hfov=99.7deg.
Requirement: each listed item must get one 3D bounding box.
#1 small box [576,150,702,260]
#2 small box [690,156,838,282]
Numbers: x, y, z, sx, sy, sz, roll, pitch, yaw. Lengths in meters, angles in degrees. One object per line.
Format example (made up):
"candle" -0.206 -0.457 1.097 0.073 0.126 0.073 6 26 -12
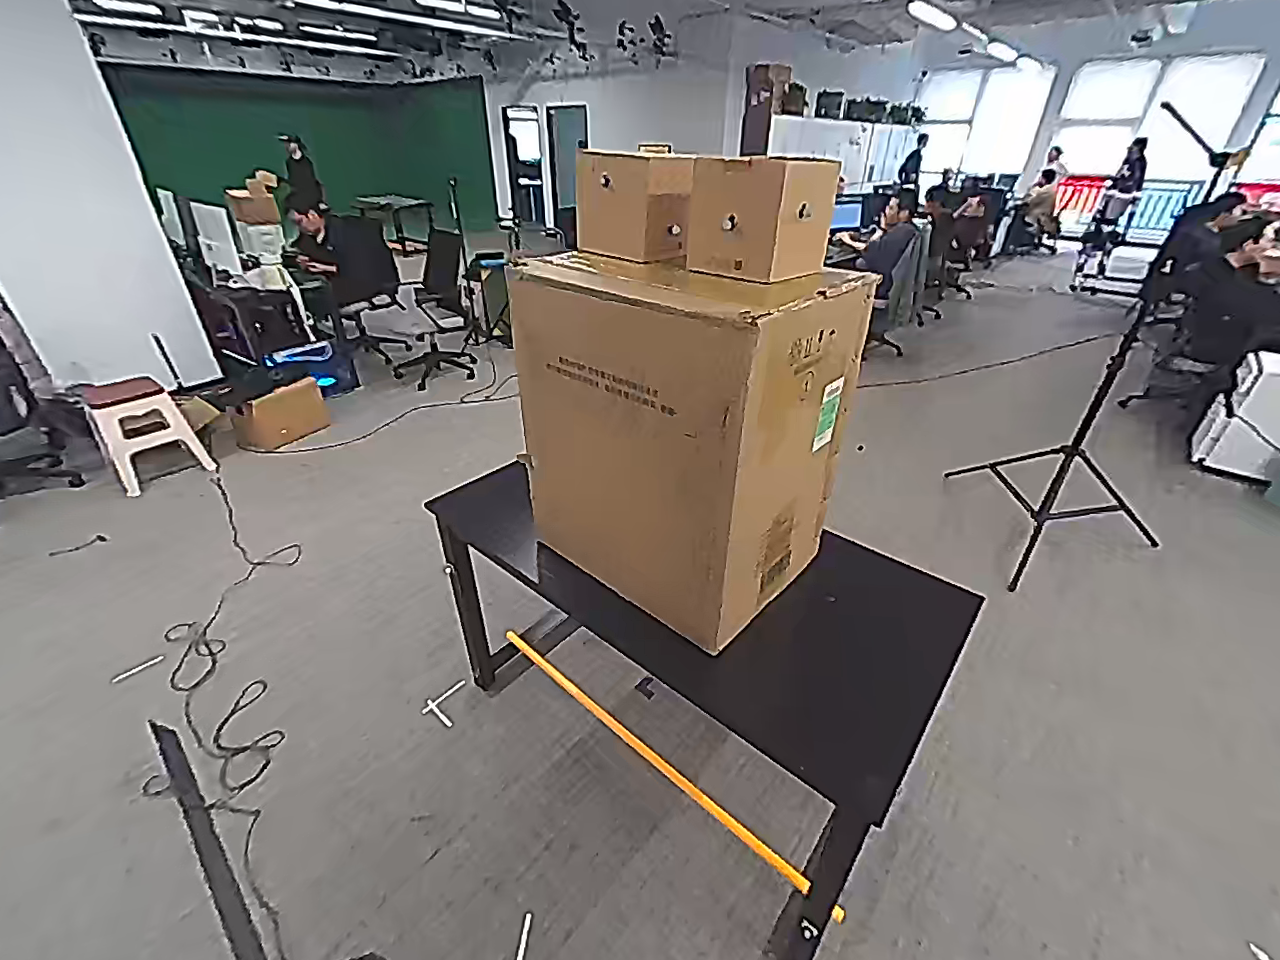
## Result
"small box" -0.004 -0.517 1.017 0.179 0.176 0.168 27 39 32
"small box" 0.195 -0.427 0.879 0.168 0.176 0.179 26 39 35
